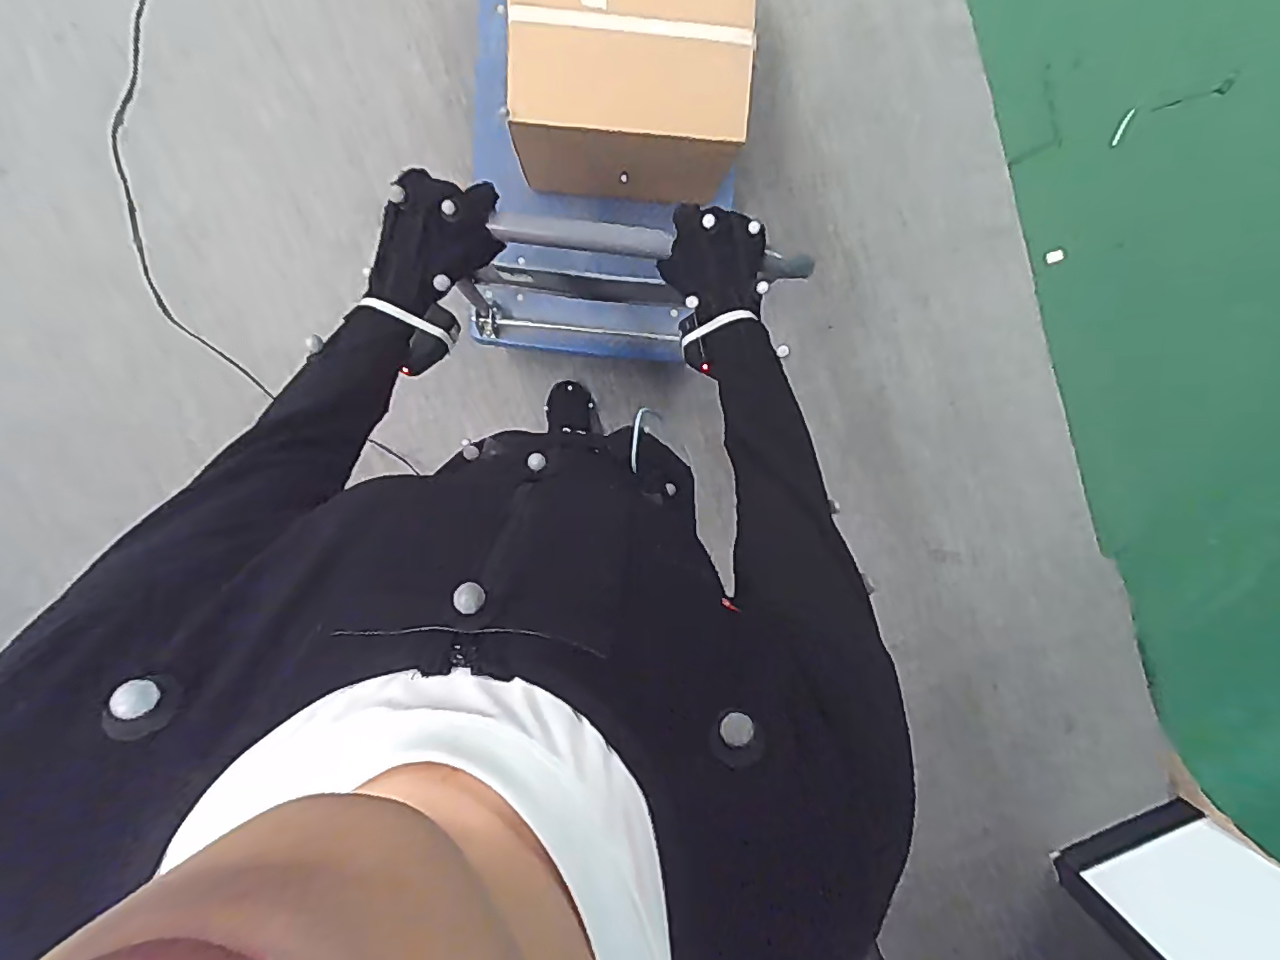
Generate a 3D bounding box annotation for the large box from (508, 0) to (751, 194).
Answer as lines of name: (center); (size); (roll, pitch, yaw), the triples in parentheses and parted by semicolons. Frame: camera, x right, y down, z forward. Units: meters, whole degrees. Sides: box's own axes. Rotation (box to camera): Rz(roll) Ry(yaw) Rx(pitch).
large box: (-0.024, -0.766, 1.029); (0.408, 0.320, 0.320); (2, 98, -5)
